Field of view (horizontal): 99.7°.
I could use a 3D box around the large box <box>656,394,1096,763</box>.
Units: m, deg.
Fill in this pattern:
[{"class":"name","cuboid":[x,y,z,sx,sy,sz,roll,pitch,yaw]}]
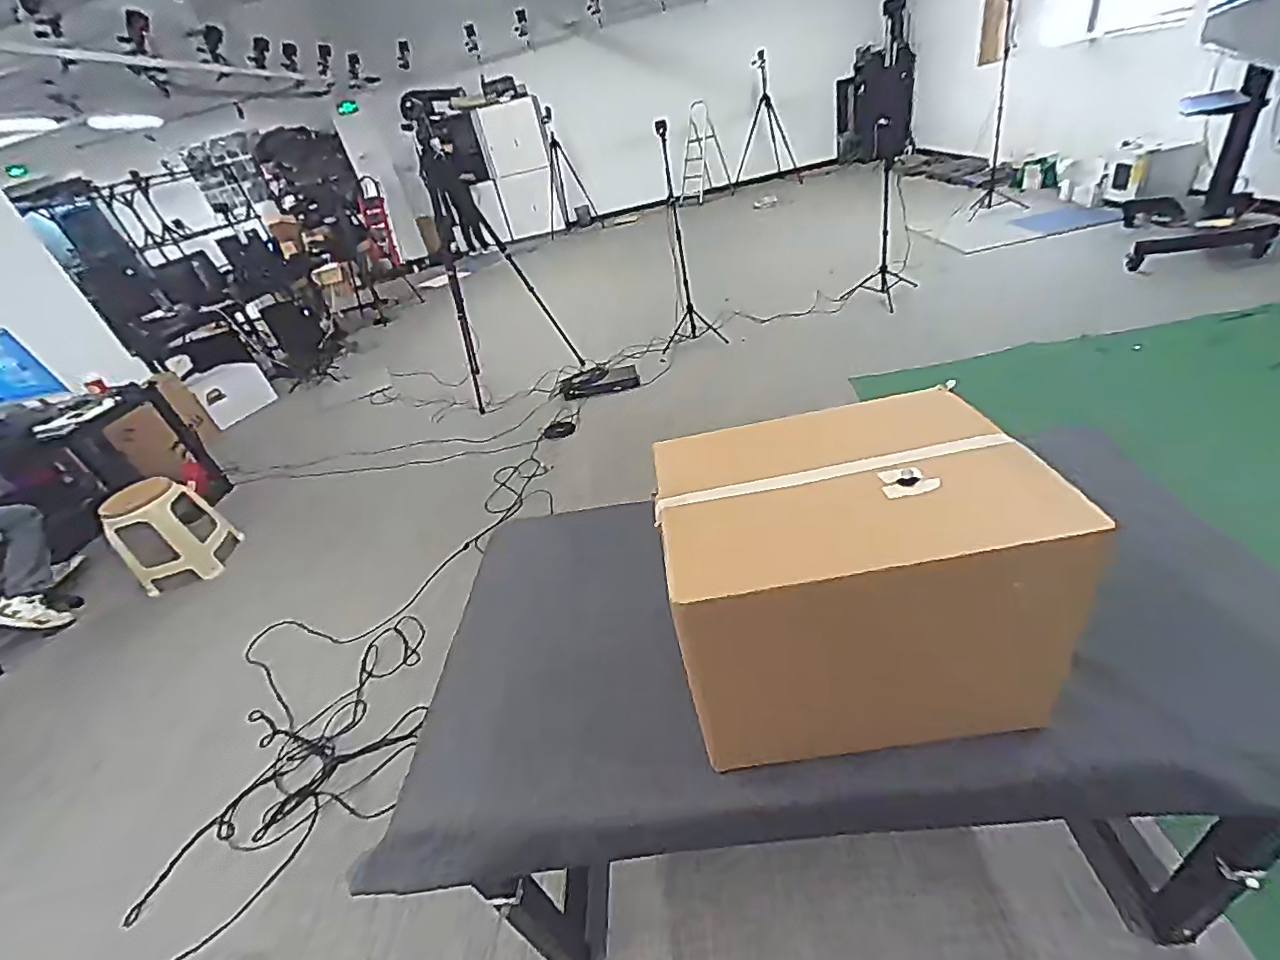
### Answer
[{"class":"large box","cuboid":[0.250,0.122,0.714,0.408,0.320,0.320,-10,34,4]}]
